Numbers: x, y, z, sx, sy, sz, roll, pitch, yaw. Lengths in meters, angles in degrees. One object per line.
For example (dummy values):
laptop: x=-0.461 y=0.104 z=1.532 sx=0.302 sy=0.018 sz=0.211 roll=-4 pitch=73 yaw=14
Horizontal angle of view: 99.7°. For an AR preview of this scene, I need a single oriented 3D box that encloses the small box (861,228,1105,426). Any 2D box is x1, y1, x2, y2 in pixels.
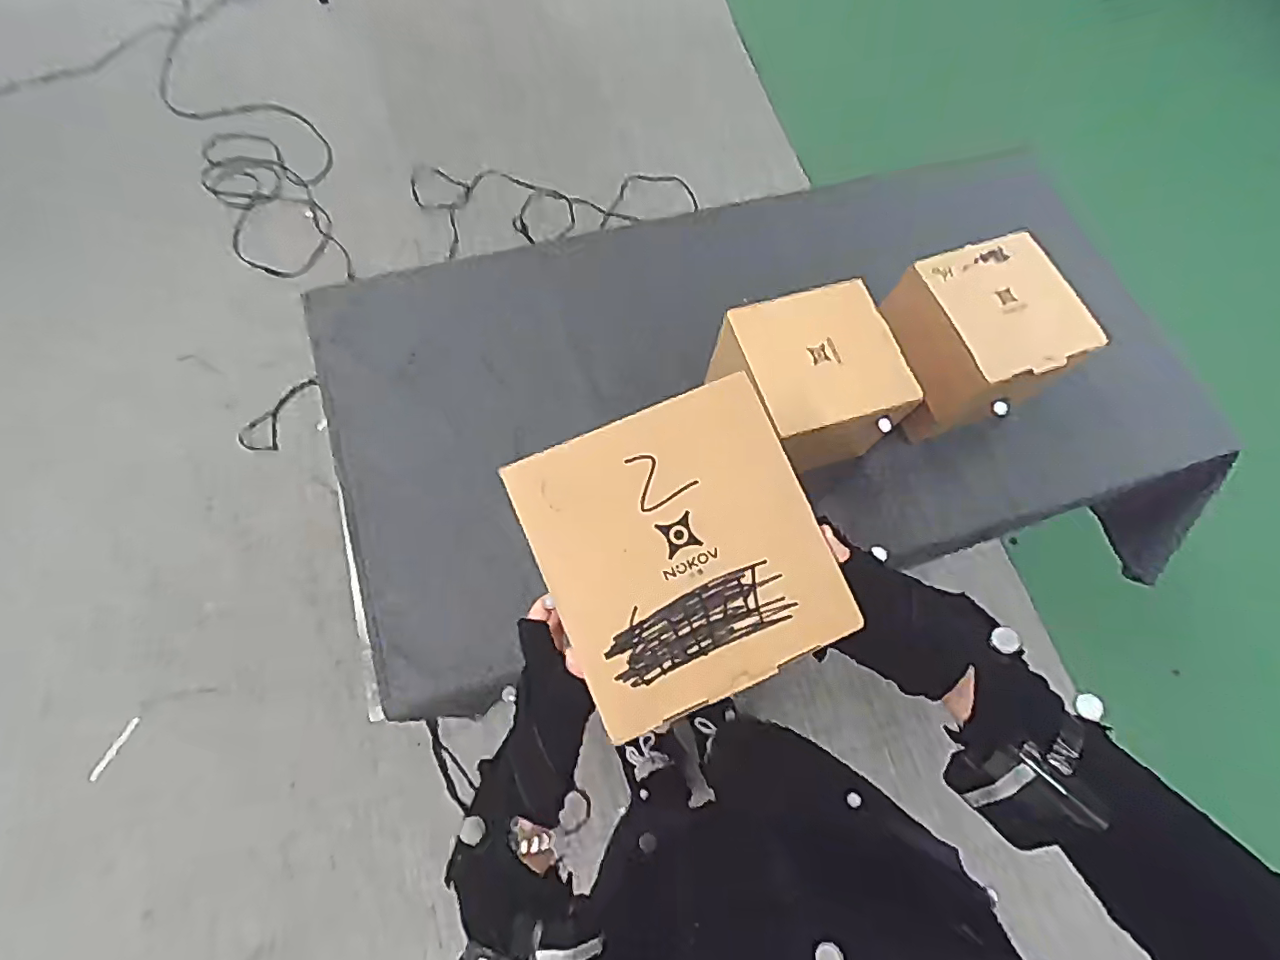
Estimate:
small box: x=0.427 y=-0.186 z=0.706 sx=0.168 sy=0.176 sz=0.179 roll=-17 pitch=73 yaw=-10
